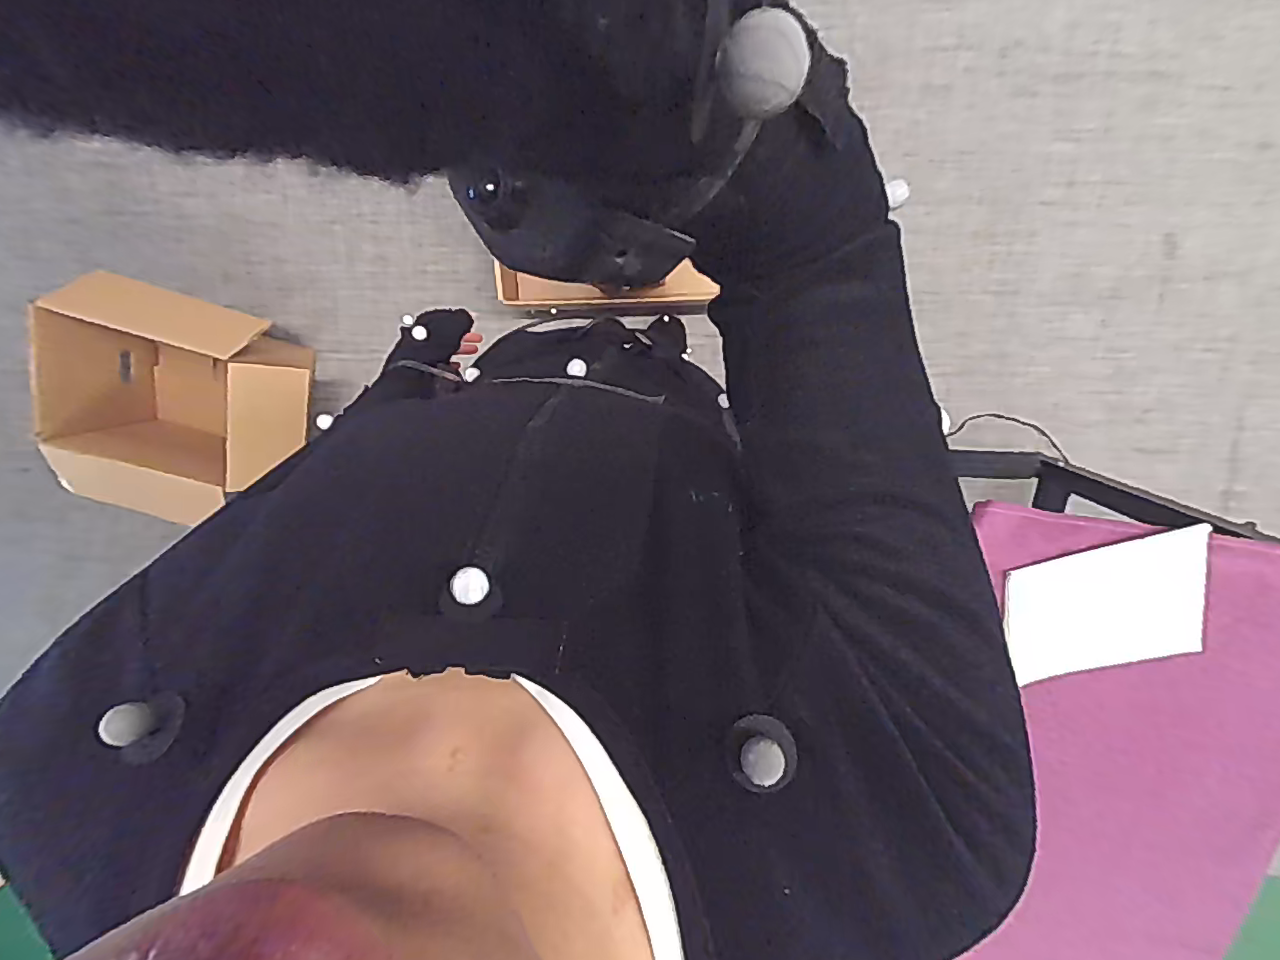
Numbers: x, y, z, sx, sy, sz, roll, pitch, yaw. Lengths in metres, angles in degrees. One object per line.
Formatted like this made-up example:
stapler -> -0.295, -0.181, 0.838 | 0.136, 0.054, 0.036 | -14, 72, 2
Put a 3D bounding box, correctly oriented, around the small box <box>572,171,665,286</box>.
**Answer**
small box -> -0.037, -0.476, 1.045 | 0.168, 0.176, 0.179 | -2, 107, 2
